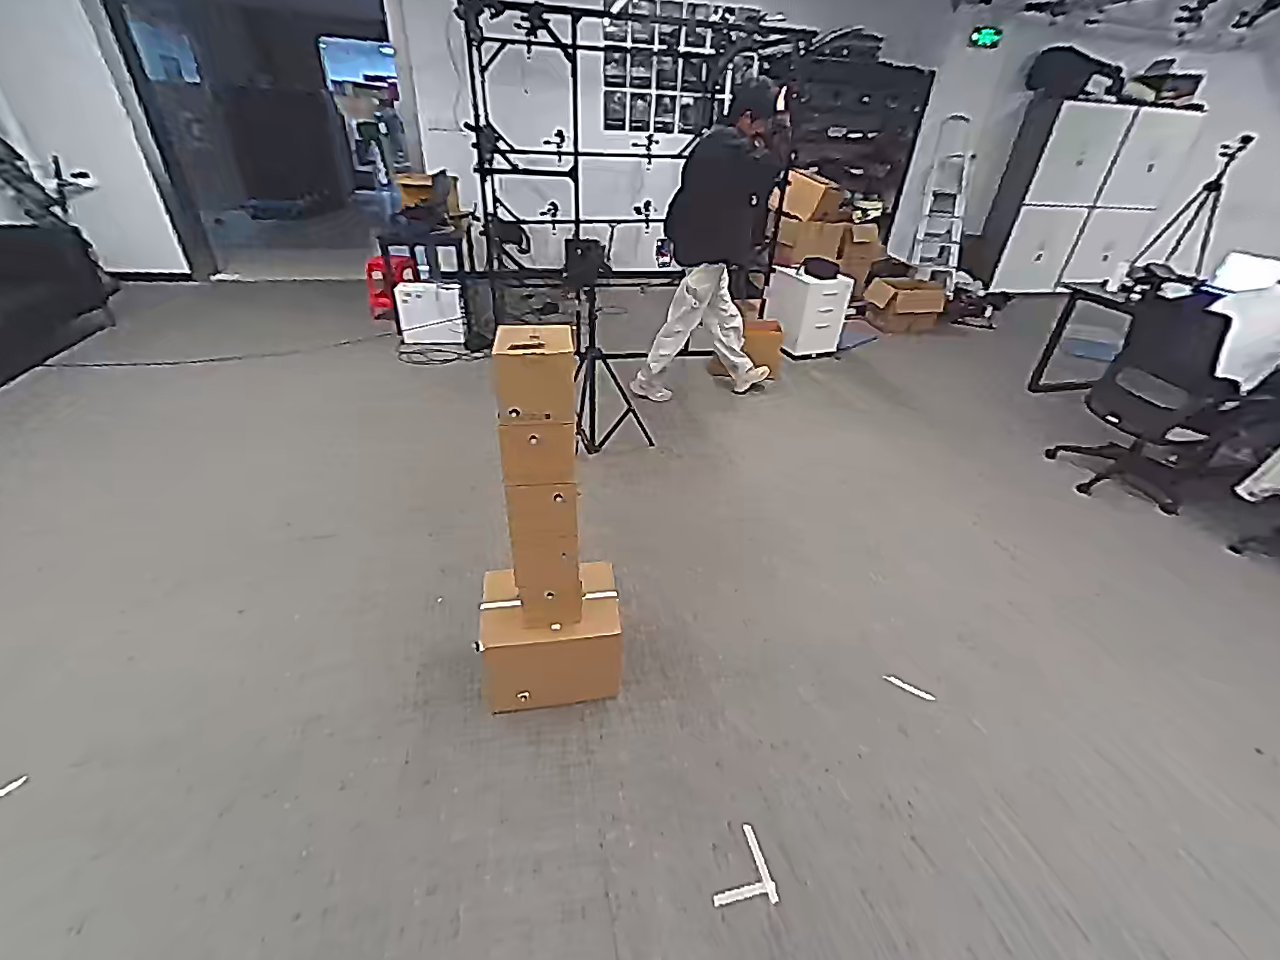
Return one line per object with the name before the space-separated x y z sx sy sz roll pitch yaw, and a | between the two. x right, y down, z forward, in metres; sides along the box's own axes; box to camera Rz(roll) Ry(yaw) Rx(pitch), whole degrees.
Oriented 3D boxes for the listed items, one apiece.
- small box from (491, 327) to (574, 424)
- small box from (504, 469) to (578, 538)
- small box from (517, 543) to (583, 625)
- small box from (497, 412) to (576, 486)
small box | -0.237 -0.235 1.224 0.168 0.176 0.179 -3 34 -8
small box | -0.253 0.036 1.406 0.179 0.176 0.168 -3 35 -9
small box | -0.264 0.308 1.589 0.179 0.176 0.168 -4 36 -12
small box | -0.246 -0.099 1.316 0.179 0.176 0.168 -3 35 -8
